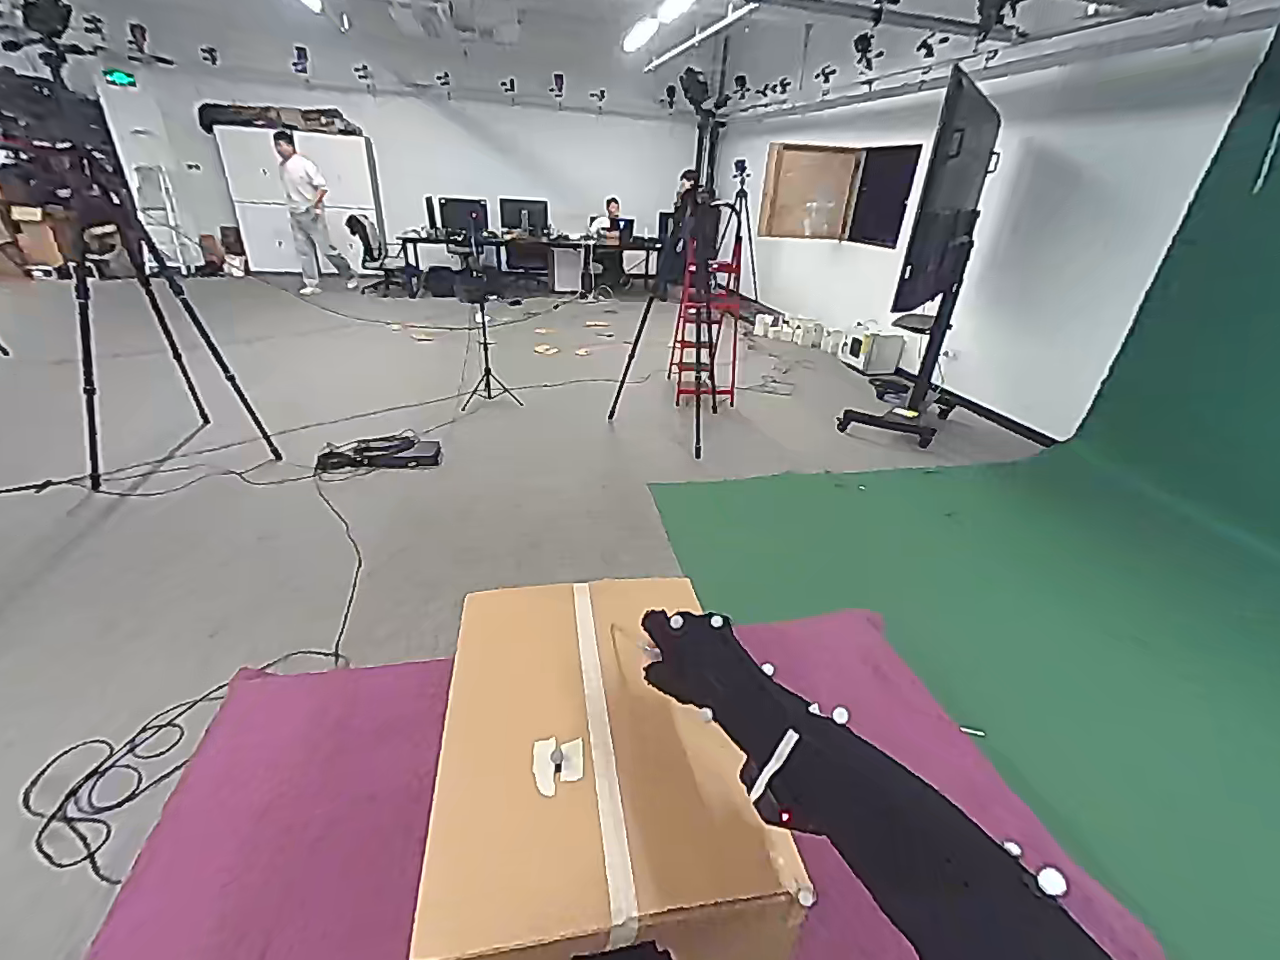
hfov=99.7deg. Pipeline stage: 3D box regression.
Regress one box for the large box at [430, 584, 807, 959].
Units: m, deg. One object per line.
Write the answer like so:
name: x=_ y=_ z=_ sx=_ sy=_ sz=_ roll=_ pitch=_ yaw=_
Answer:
large box: x=-0.055 y=0.380 z=0.666 sx=0.320 sy=0.320 sz=0.408 roll=-2 pitch=29 yaw=-11
